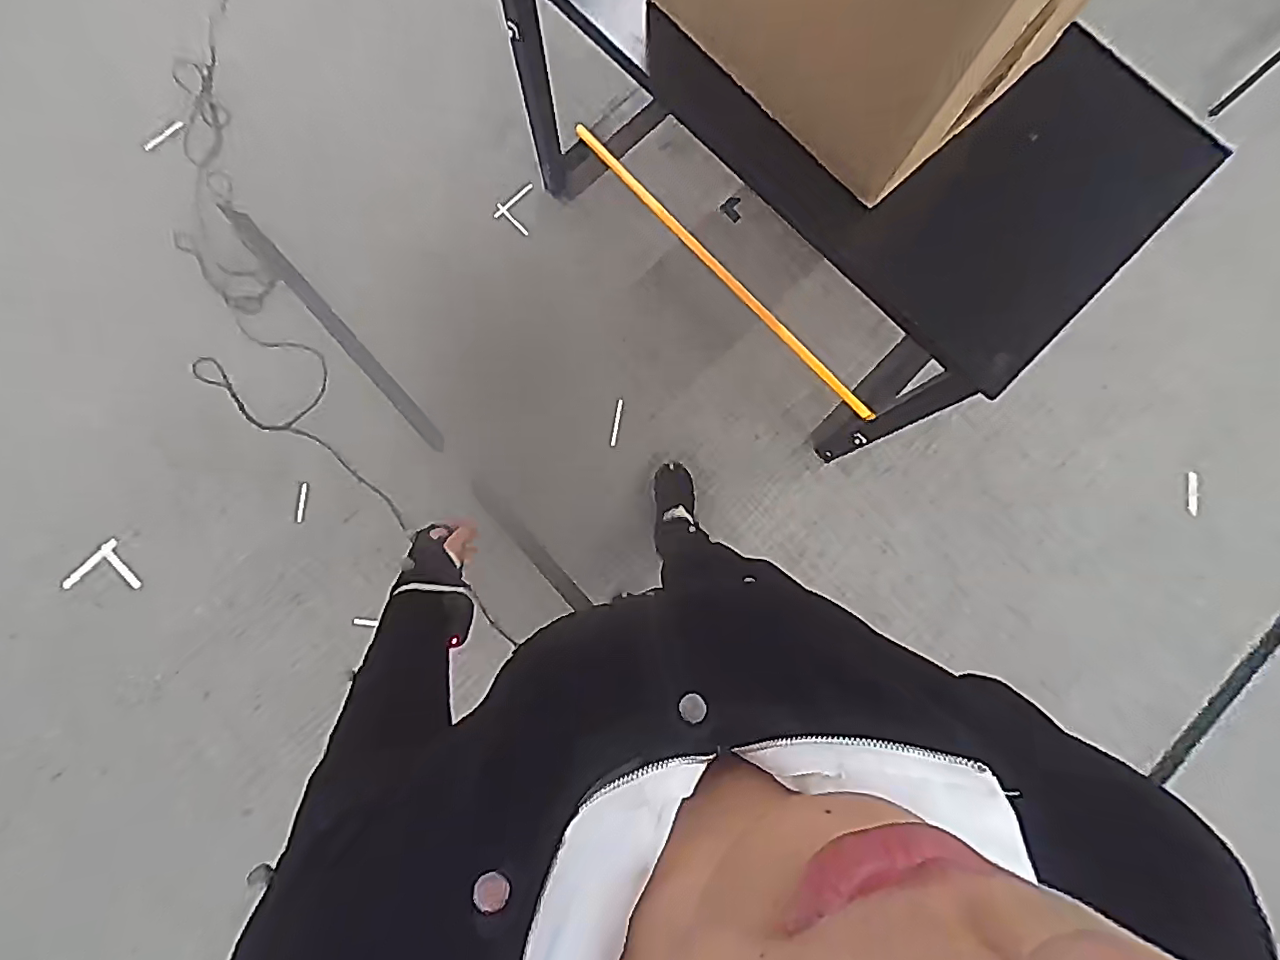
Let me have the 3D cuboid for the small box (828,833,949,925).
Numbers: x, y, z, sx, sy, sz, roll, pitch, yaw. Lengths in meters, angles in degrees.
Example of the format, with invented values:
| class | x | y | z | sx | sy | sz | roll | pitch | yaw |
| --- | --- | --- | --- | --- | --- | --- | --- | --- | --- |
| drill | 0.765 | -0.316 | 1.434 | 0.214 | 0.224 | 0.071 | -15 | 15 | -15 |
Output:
| class | x | y | z | sx | sy | sz | roll | pitch | yaw |
| --- | --- | --- | --- | --- | --- | --- | --- | --- | --- |
| small box | 0.599 | 1.021 | 1.328 | 0.179 | 0.176 | 0.168 | 39 | 83 | 5 |

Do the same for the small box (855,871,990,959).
| class | x | y | z | sx | sy | sz | roll | pitch | yaw |
| --- | --- | --- | --- | --- | --- | --- | --- | --- | --- |
| small box | 0.600 | 1.005 | 1.164 | 0.168 | 0.176 | 0.179 | 41 | 84 | 5 |
